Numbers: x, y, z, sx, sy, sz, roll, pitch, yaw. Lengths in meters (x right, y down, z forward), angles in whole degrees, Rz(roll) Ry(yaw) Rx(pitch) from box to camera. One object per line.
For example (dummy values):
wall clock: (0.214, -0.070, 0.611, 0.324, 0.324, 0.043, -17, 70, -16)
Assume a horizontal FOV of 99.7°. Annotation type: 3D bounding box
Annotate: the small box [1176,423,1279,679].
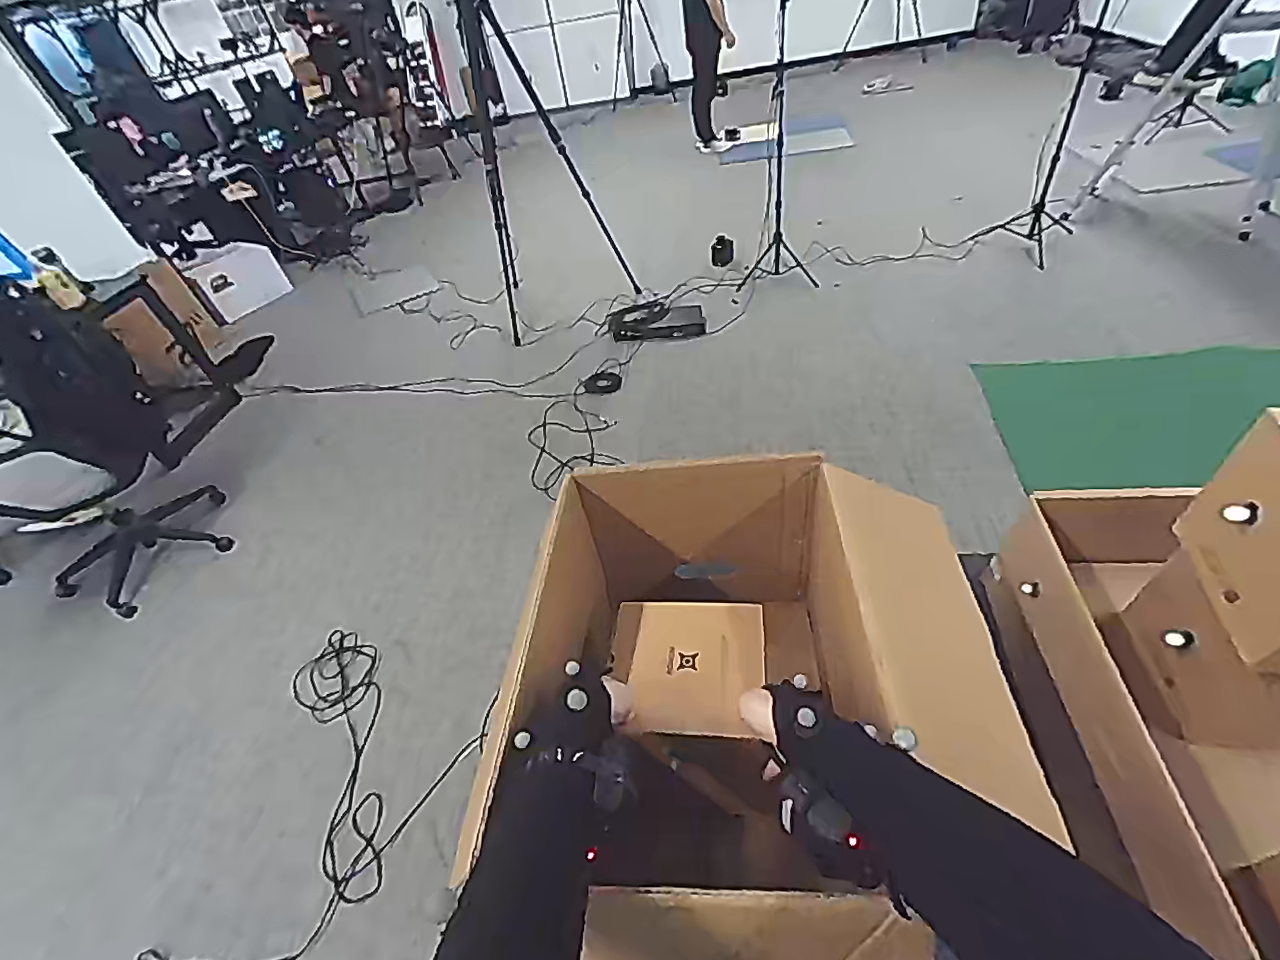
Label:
small box: (0.620, 0.070, 0.462, 0.179, 0.176, 0.168, 5, 47, 16)
